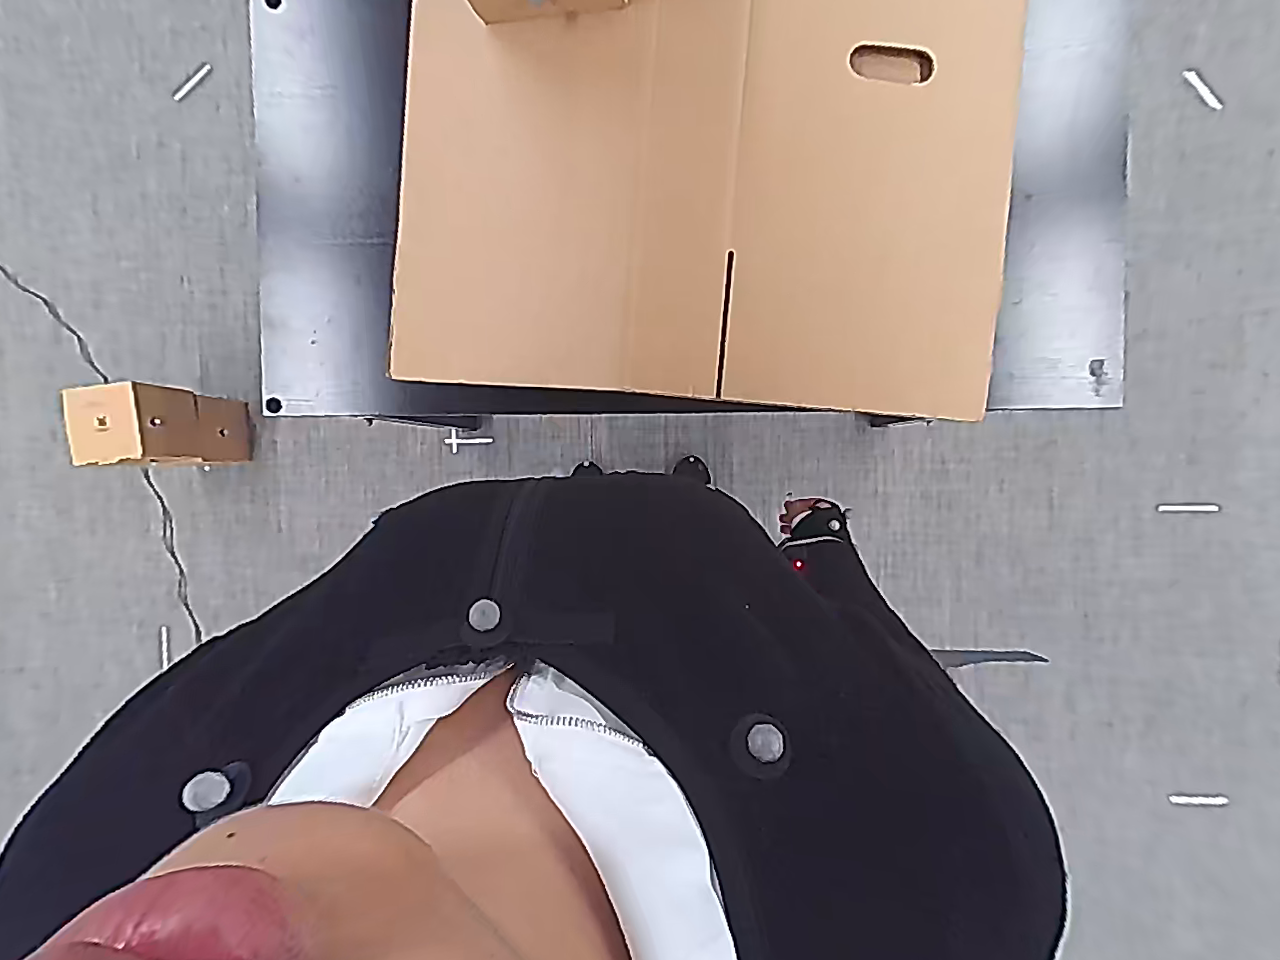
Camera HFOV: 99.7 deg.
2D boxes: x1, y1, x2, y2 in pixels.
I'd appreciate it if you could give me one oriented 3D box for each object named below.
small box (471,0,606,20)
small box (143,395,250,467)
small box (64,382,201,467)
[{"bbox_3d":[-0.109,-0.592,0.516,0.179,0.176,0.168,6,92,14],"label":"small box"},{"bbox_3d":[-1.194,-0.127,1.456,0.168,0.176,0.179,-5,92,2],"label":"small box"},{"bbox_3d":[-1.200,-0.128,1.293,0.168,0.176,0.179,-7,91,2],"label":"small box"}]
